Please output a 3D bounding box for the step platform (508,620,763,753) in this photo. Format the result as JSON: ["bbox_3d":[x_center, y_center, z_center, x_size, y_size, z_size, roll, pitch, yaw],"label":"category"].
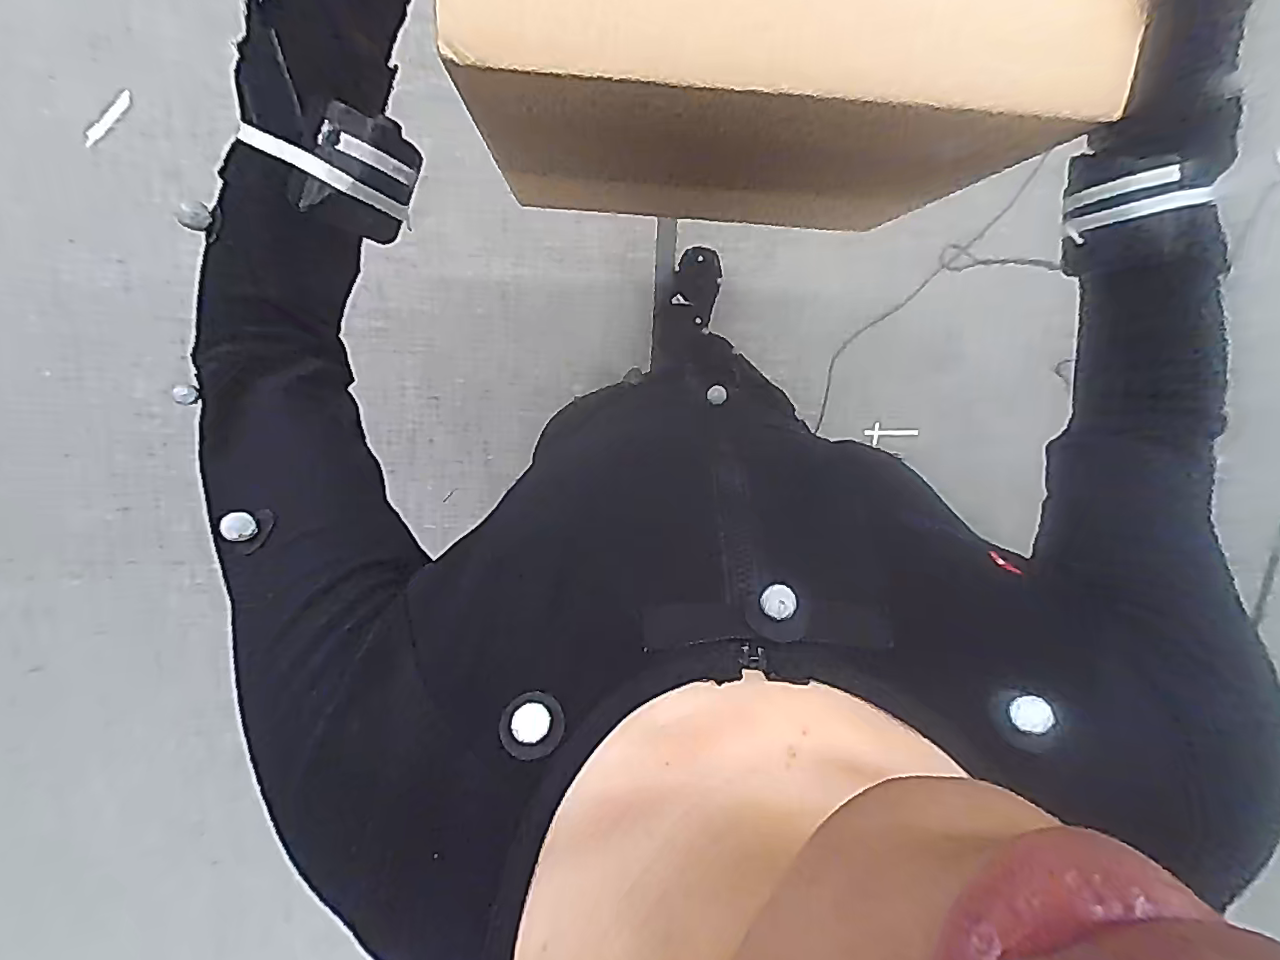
[{"bbox_3d":[-0.012,0.564,1.484,0.684,0.204,0.286,-1,101,-1],"label":"step platform"}]

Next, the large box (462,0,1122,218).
[{"bbox_3d":[0.084,-0.420,0.436,0.408,0.320,0.320,1,104,-6],"label":"large box"}]
